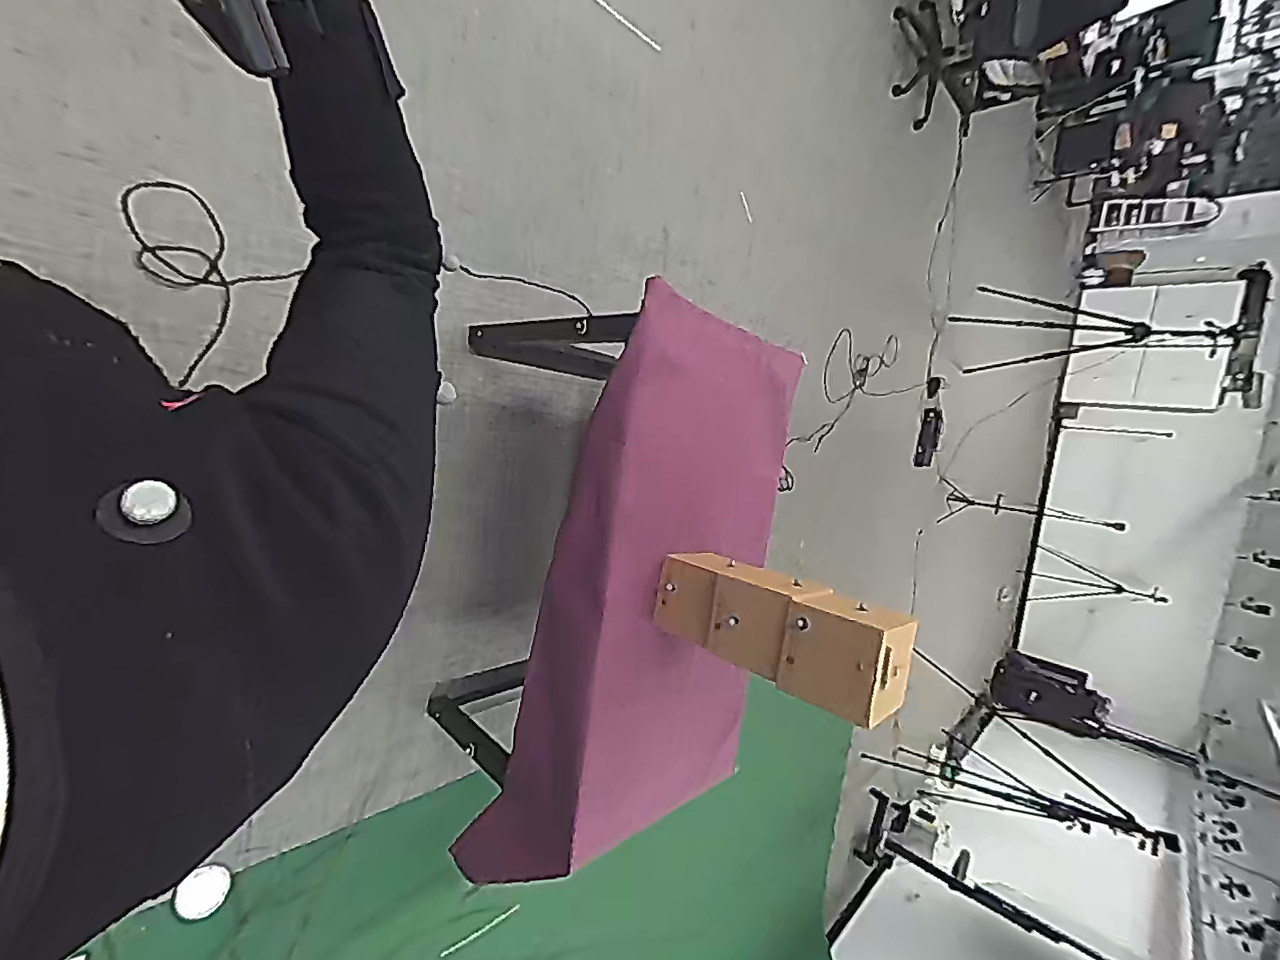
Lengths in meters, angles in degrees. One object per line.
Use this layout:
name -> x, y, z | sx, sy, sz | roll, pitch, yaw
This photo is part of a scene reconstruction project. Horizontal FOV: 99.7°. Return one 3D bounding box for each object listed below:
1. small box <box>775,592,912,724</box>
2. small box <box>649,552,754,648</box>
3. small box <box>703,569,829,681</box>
small box -> 0.365, 0.308, 0.975 | 0.179, 0.176, 0.168 | 7, 93, -47
small box -> 0.148, 0.261, 1.218 | 0.179, 0.176, 0.168 | 8, 92, -46
small box -> 0.254, 0.280, 1.094 | 0.179, 0.176, 0.168 | 6, 93, -46
